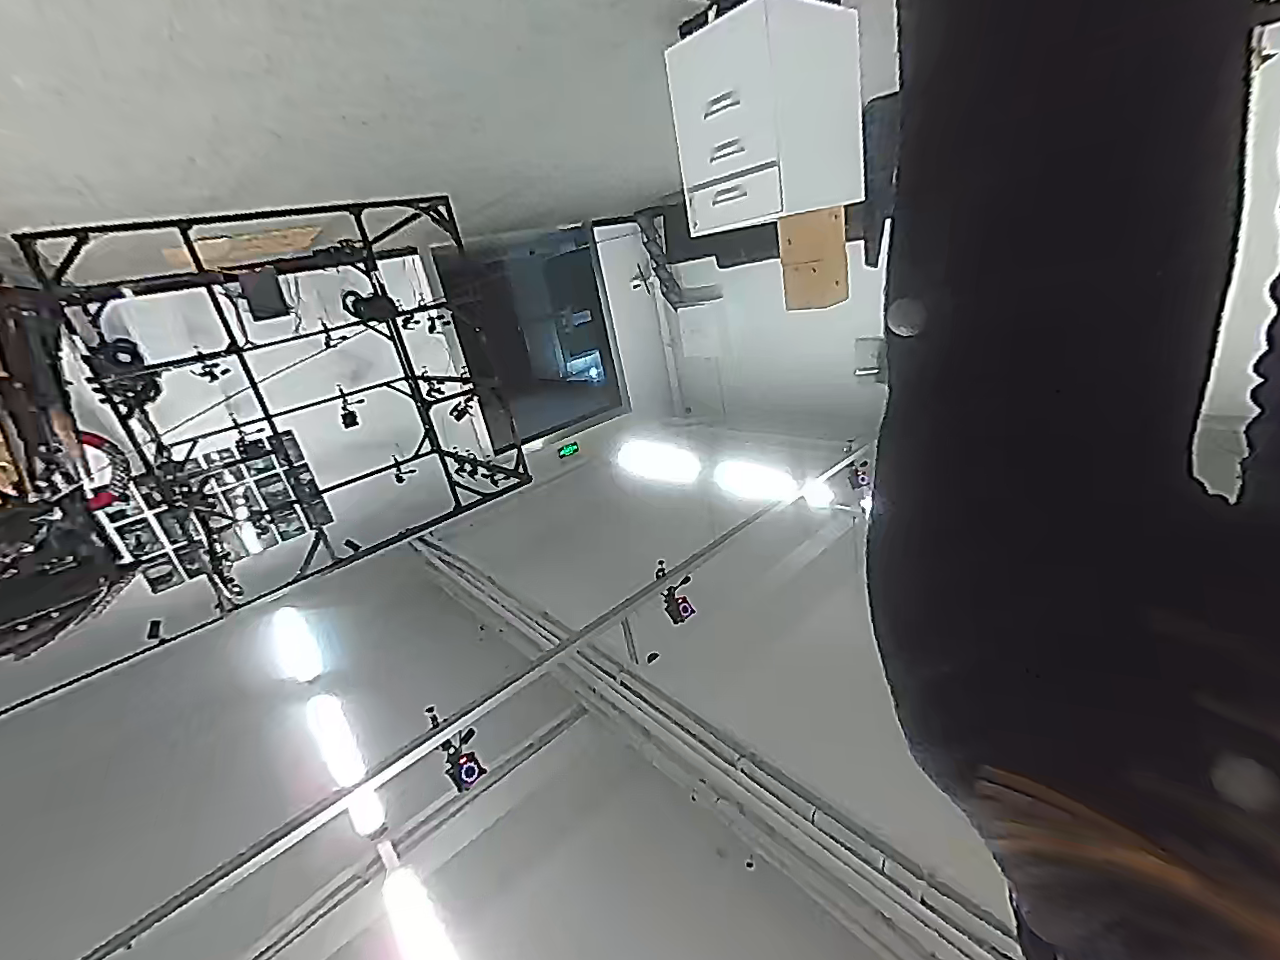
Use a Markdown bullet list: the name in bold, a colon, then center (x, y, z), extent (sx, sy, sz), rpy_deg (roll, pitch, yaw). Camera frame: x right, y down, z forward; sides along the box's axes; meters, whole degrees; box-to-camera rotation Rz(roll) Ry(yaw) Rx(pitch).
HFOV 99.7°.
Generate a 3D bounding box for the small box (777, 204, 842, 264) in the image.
- **small box**: center (0.610, -0.890, 1.952), extent (0.168, 0.176, 0.179), rpy_deg (-30, -151, -37)

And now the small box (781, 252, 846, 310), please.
- **small box**: center (0.646, -0.744, 2.018), extent (0.179, 0.176, 0.168), rpy_deg (-29, -151, -32)
